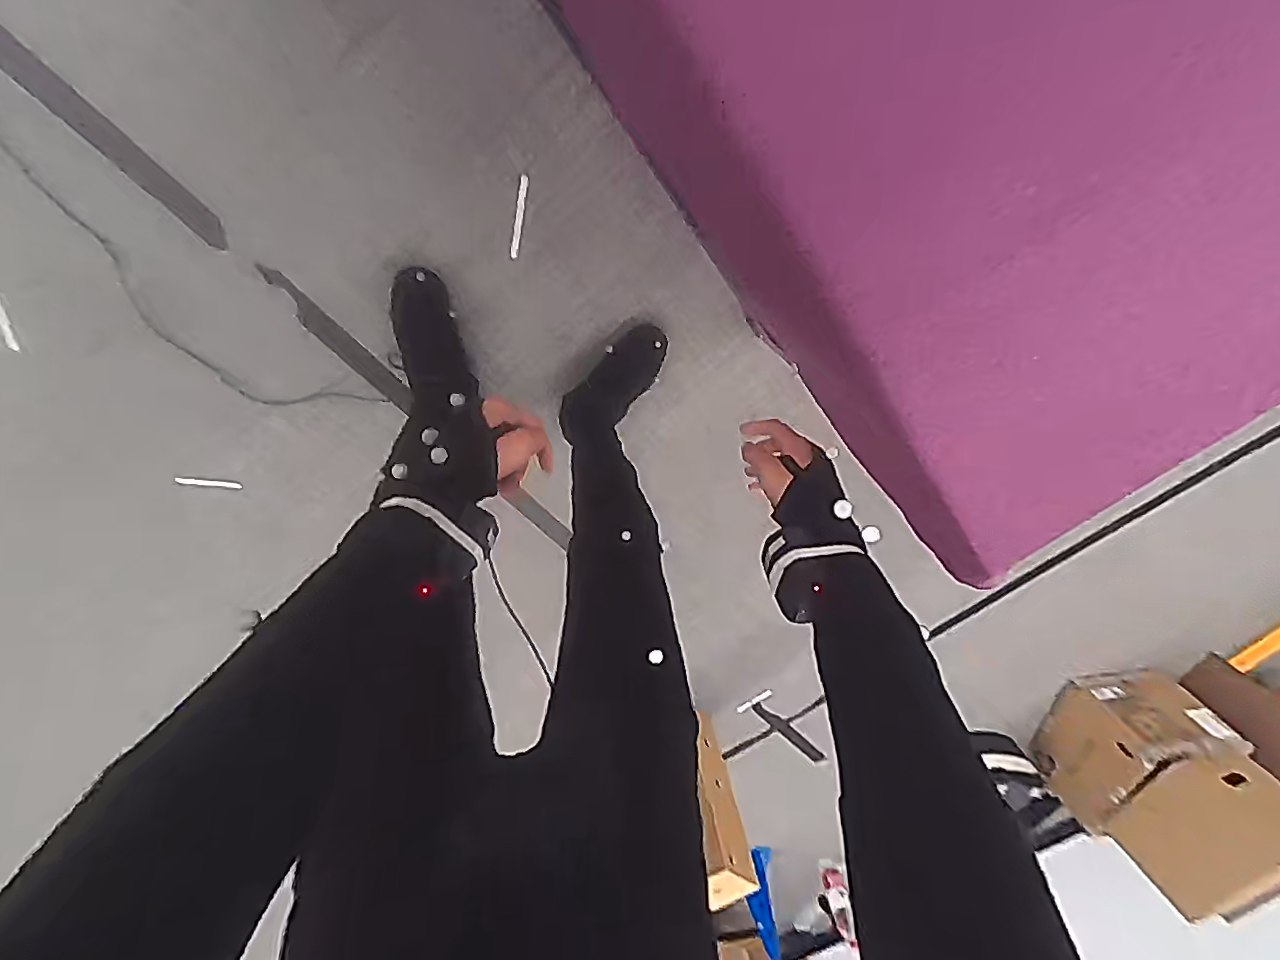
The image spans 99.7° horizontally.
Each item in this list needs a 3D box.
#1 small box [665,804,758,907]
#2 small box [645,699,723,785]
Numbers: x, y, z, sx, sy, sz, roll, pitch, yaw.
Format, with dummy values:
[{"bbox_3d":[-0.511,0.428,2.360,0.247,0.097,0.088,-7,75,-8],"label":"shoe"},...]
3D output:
[{"bbox_3d":[0.190,1.016,1.470,0.168,0.176,0.179,-36,120,14],"label":"small box"},{"bbox_3d":[0.137,0.841,1.742,0.168,0.176,0.179,-39,119,15],"label":"small box"}]
